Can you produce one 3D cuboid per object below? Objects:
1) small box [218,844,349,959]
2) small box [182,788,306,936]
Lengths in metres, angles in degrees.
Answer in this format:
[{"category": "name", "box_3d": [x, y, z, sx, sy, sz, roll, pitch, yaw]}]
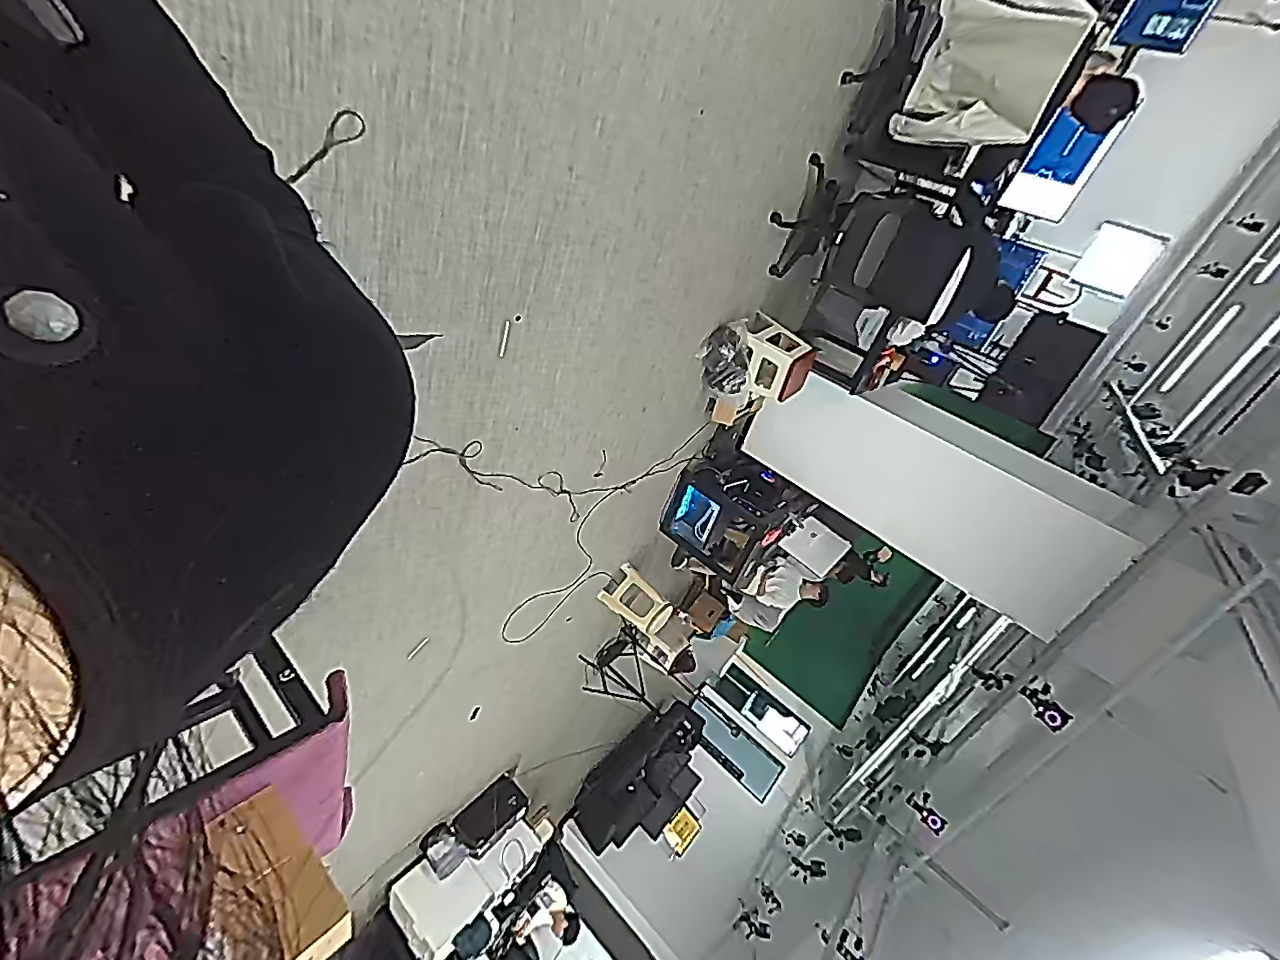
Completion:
[{"category": "small box", "box_3d": [-0.716, 0.892, 1.088, 0.179, 0.176, 0.168, -26, 145, -47]}, {"category": "small box", "box_3d": [-0.836, 0.805, 1.152, 0.168, 0.176, 0.179, -25, 142, -48]}]
